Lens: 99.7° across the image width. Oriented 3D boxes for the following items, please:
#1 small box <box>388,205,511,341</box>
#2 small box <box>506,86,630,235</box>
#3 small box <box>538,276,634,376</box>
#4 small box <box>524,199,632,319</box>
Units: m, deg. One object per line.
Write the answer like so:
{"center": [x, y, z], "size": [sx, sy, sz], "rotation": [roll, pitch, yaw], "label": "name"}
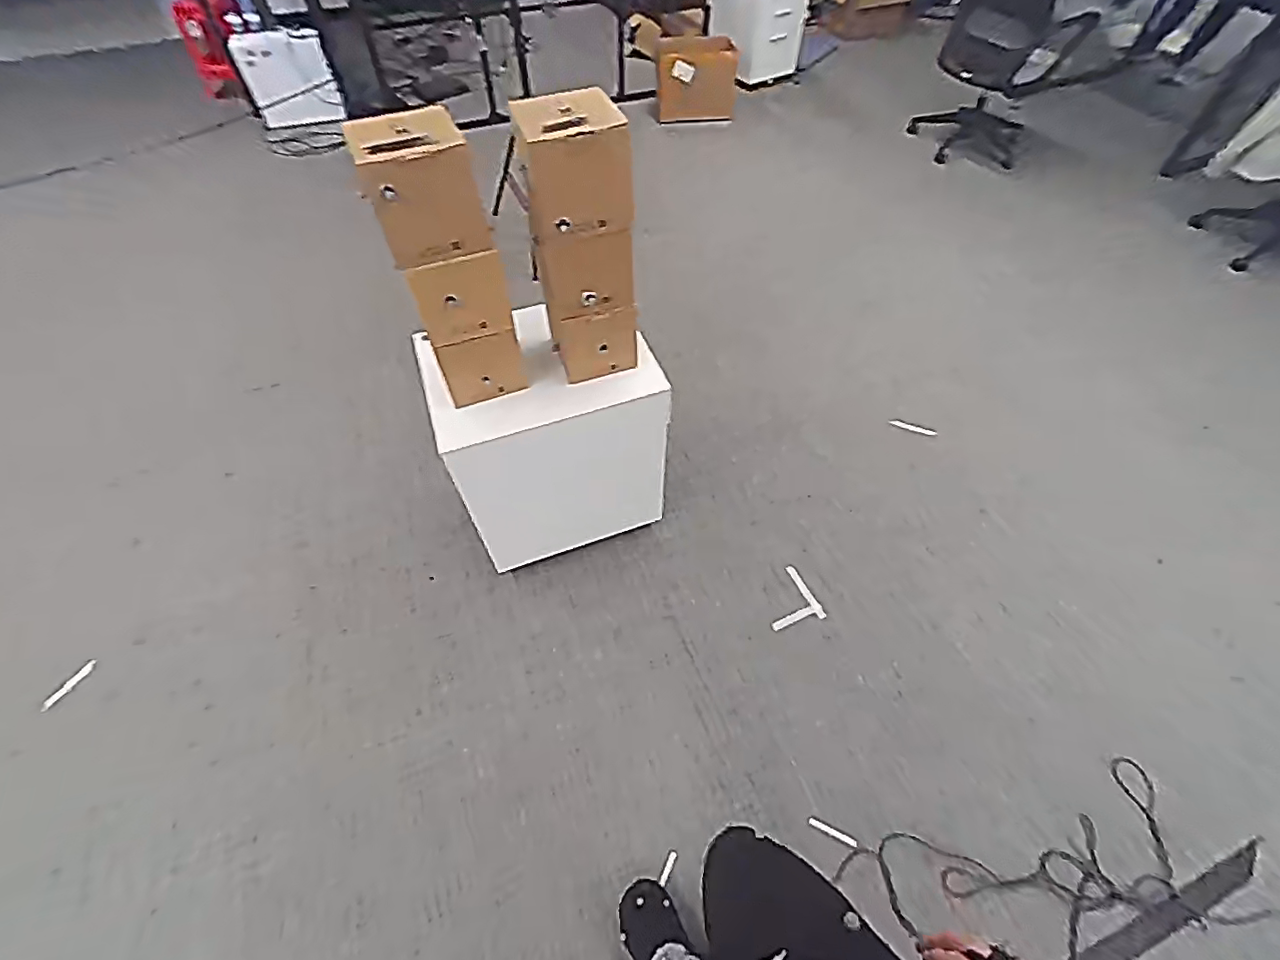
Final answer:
{"center": [-0.356, -0.386, 1.029], "size": [0.168, 0.176, 0.179], "rotation": [-19, 56, -14], "label": "small box"}
{"center": [-0.119, -0.547, 0.942], "size": [0.168, 0.176, 0.179], "rotation": [-17, 55, -10], "label": "small box"}
{"center": [-0.115, -0.352, 1.204], "size": [0.168, 0.176, 0.179], "rotation": [-17, 58, -12], "label": "small box"}
{"center": [-0.120, -0.453, 1.077], "size": [0.168, 0.176, 0.179], "rotation": [-18, 57, -10], "label": "small box"}
